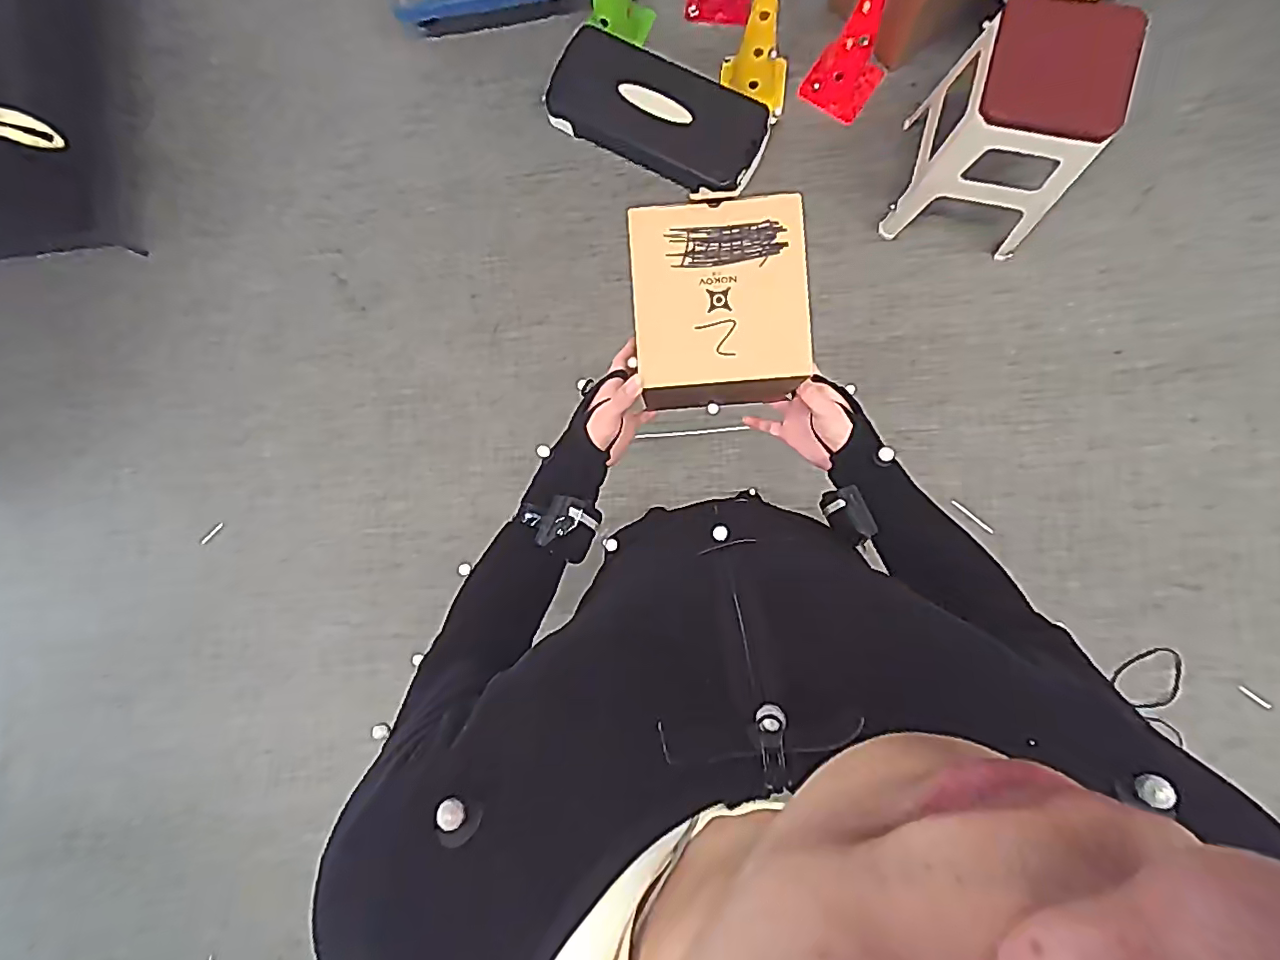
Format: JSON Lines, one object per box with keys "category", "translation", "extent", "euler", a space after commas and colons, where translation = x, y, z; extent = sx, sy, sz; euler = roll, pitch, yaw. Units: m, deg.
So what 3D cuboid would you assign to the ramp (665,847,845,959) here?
{"category": "ramp", "translation": [0.341, 1.568, 1.475], "extent": [0.509, 0.206, 0.991], "euler": [-6, 87, 6]}
